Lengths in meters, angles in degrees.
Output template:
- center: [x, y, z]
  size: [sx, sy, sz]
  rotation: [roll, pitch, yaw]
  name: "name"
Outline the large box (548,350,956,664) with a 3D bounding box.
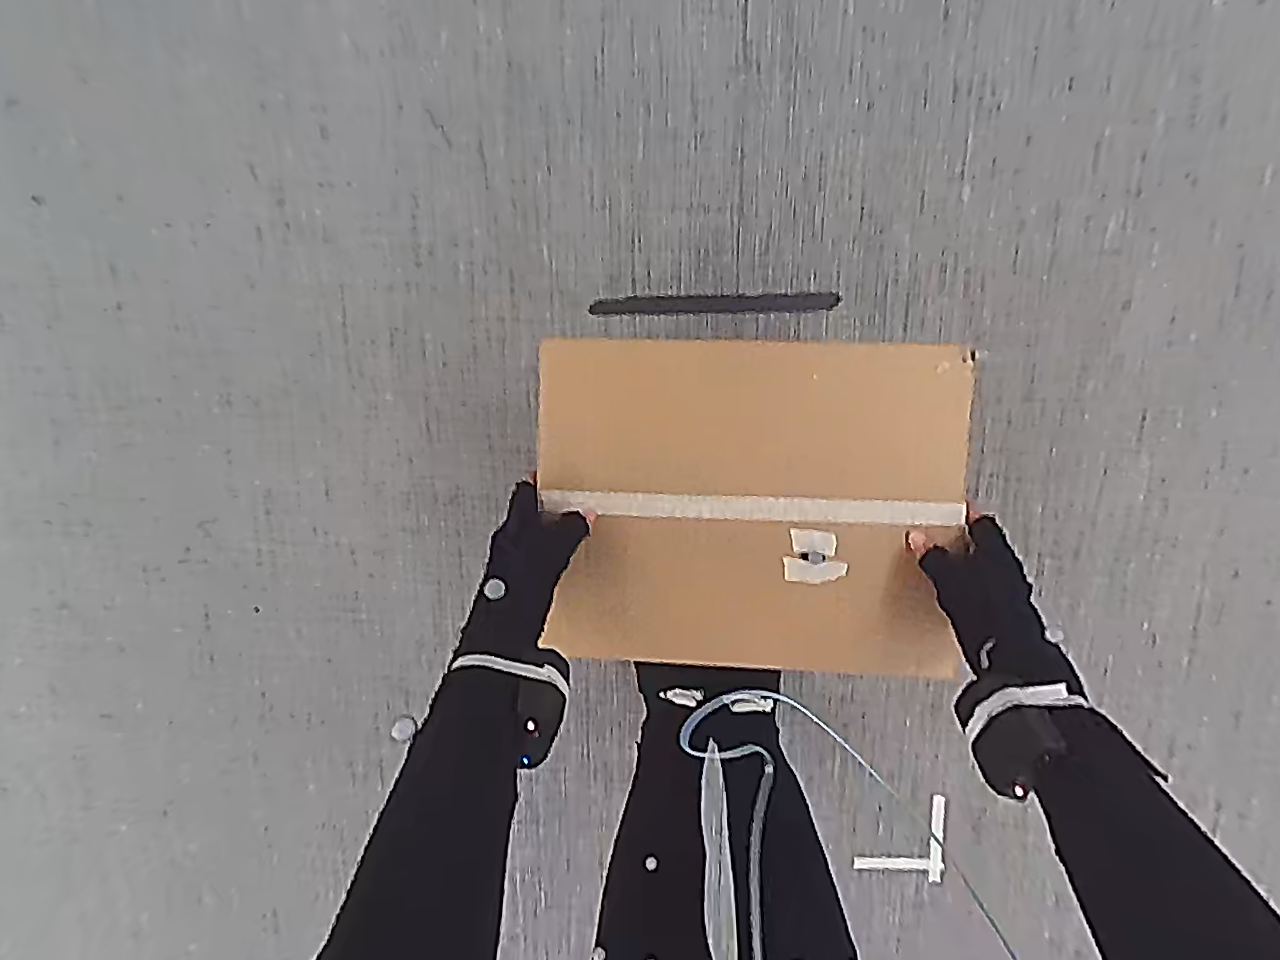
- center: [0.113, 0.021, 0.685]
  size: [0.408, 0.320, 0.320]
  rotation: [1, 93, 4]
  name: "large box"
